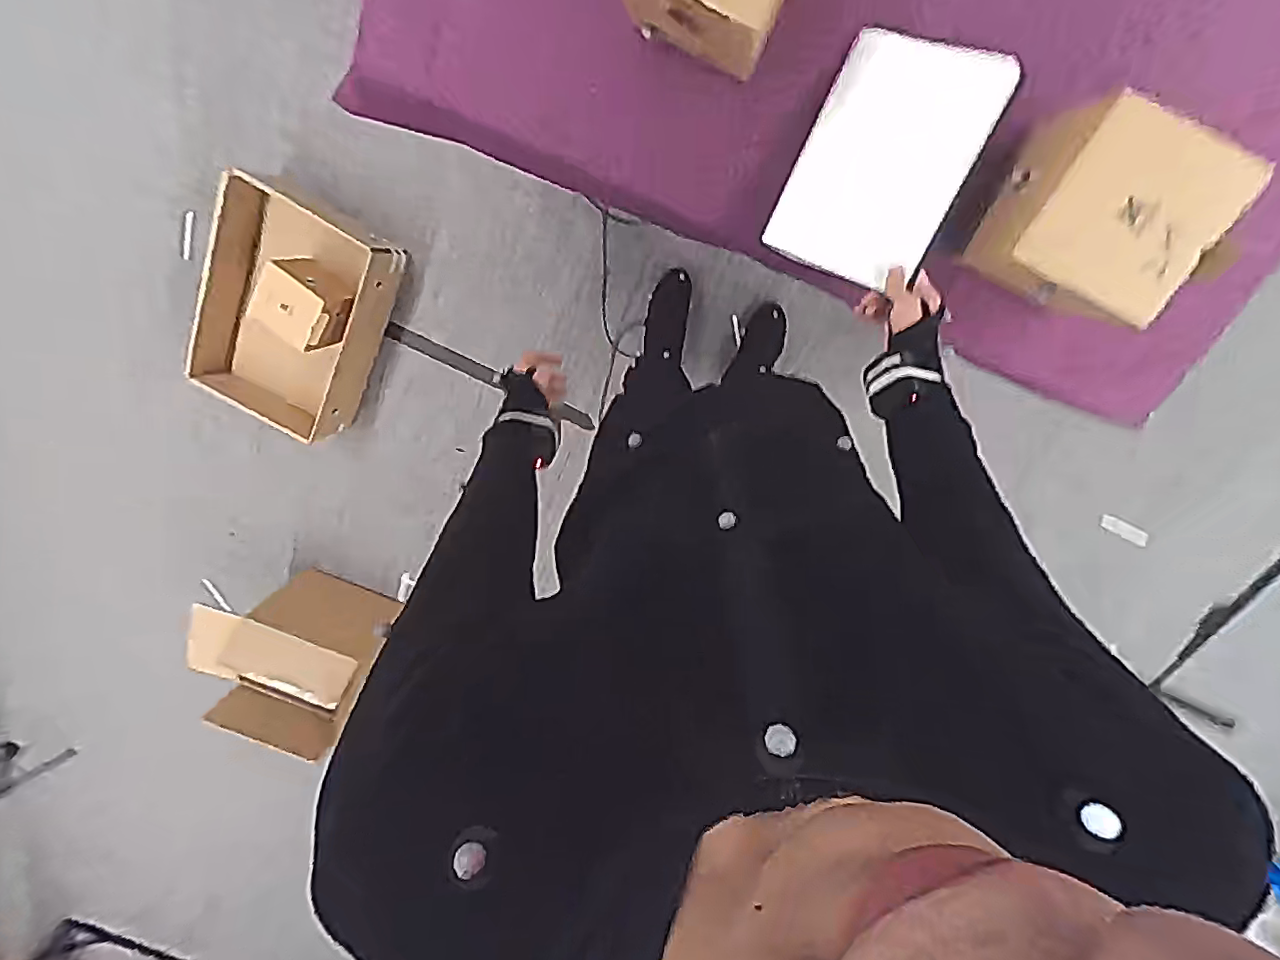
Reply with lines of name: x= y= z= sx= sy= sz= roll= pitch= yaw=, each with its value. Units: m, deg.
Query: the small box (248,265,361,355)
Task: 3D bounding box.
small box: x=-0.908 y=-0.473 z=1.480 sx=0.179 sy=0.176 sz=0.168 roll=37 pitch=112 yaw=-9

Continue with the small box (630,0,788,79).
small box: x=0.090 y=-0.569 z=0.568 sx=0.168 sy=0.176 sz=0.179 roll=25 pitch=113 yaw=-4

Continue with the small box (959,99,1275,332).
small box: x=0.518 y=-0.291 z=0.625 sx=0.179 sy=0.176 sz=0.168 roll=26 pitch=113 yaw=-4
